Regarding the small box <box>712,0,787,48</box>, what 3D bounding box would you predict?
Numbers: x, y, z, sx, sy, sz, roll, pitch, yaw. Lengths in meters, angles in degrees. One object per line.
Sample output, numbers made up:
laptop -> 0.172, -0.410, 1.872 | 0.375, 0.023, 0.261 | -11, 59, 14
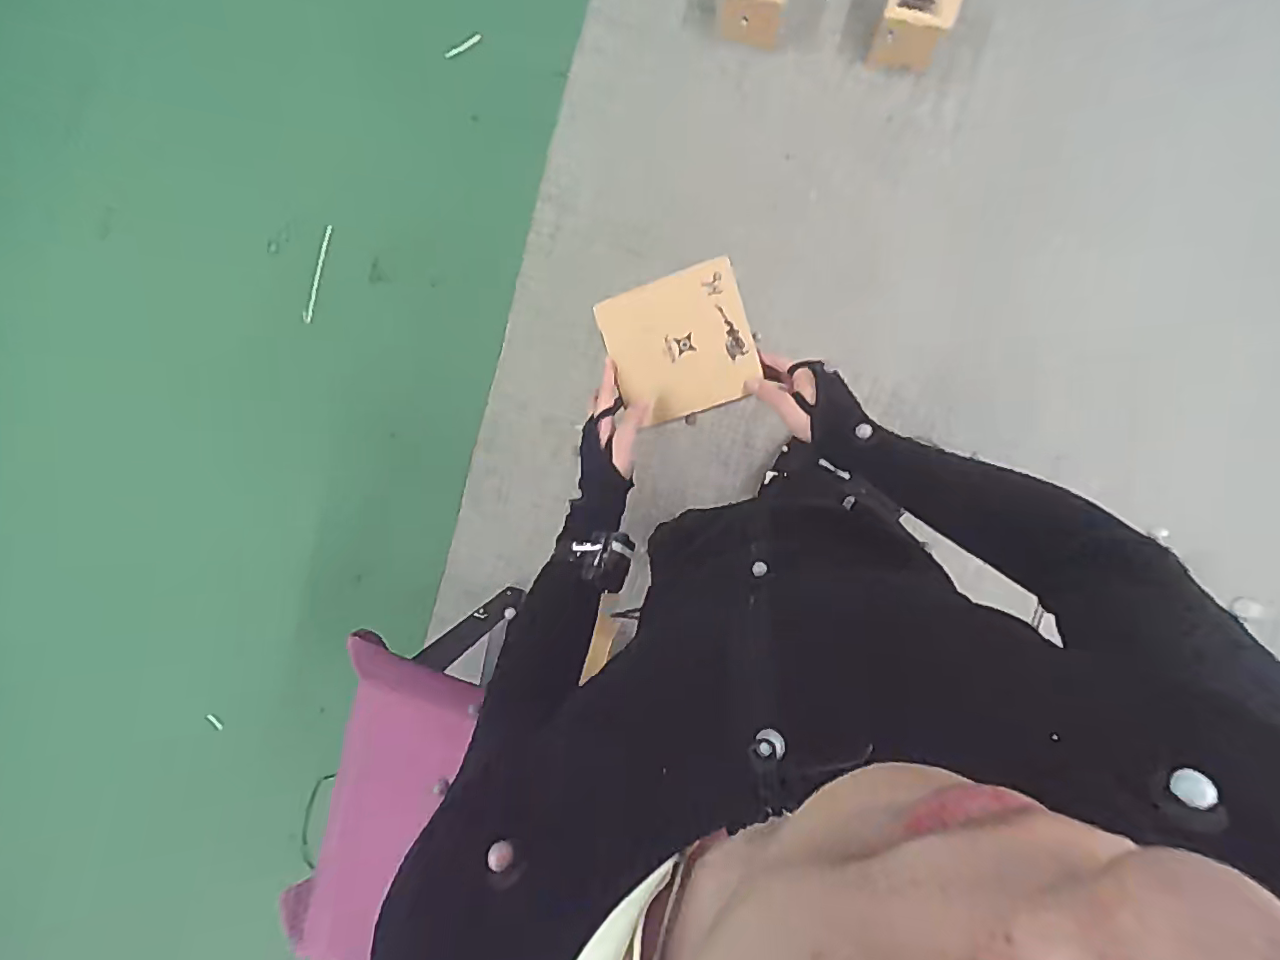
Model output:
small box -> 0.295, -1.275, 1.404 | 0.179, 0.176, 0.168 | 17, 96, 7

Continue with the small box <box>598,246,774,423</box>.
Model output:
small box -> 0.066, -0.174, 0.707 | 0.179, 0.176, 0.168 | -16, 94, 11

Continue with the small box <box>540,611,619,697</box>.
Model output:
small box -> -0.172, 0.507, 1.603 | 0.179, 0.176, 0.168 | 16, 97, 7
